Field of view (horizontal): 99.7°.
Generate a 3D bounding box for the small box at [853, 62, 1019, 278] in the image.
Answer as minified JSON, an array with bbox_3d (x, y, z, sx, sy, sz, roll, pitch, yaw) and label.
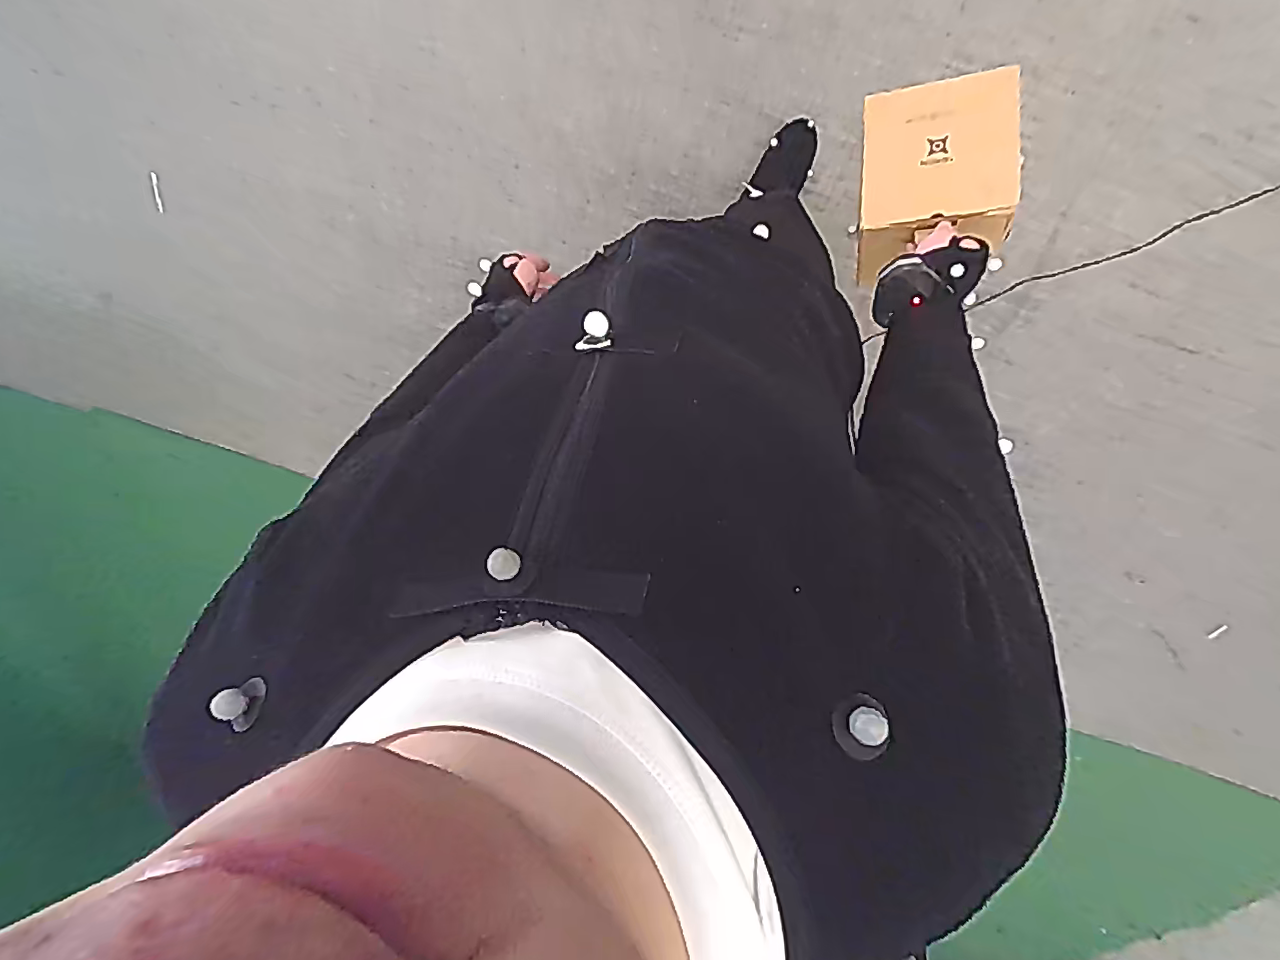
[{"bbox_3d":[0.370,-0.379,0.702,0.168,0.176,0.179,1,83,19],"label":"small box"}]
